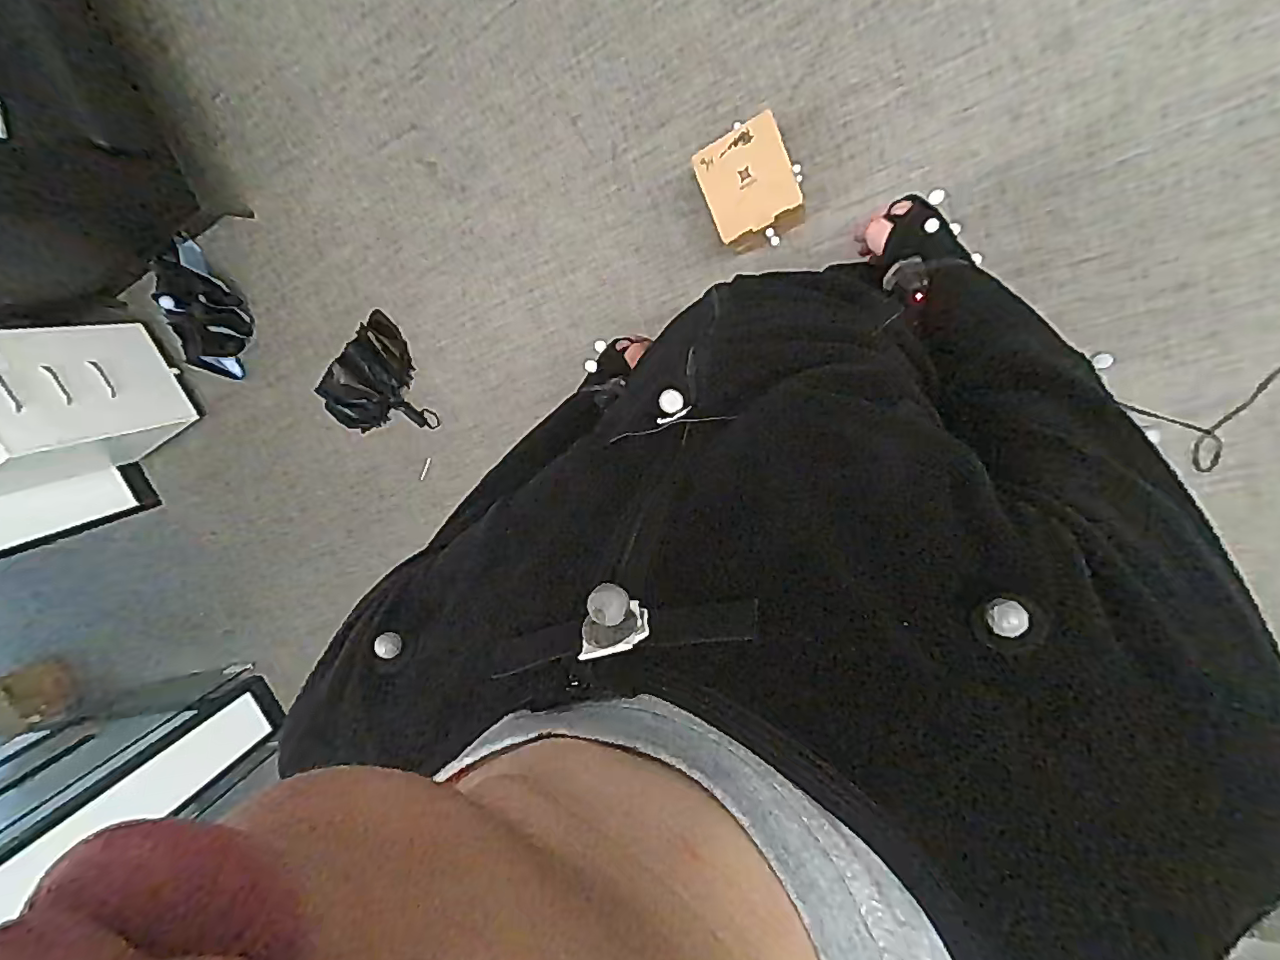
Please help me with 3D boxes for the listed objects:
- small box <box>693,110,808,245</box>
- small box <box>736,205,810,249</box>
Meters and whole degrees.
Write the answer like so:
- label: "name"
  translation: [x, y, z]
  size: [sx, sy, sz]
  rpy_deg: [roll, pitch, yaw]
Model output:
- label: "small box"
  translation: [0.231, -0.598, 1.094]
  size: [0.168, 0.176, 0.179]
  rpy_deg: [-20, 102, 26]
- label: "small box"
  translation: [0.280, -0.650, 1.241]
  size: [0.168, 0.176, 0.179]
  rpy_deg: [-21, 102, 26]
